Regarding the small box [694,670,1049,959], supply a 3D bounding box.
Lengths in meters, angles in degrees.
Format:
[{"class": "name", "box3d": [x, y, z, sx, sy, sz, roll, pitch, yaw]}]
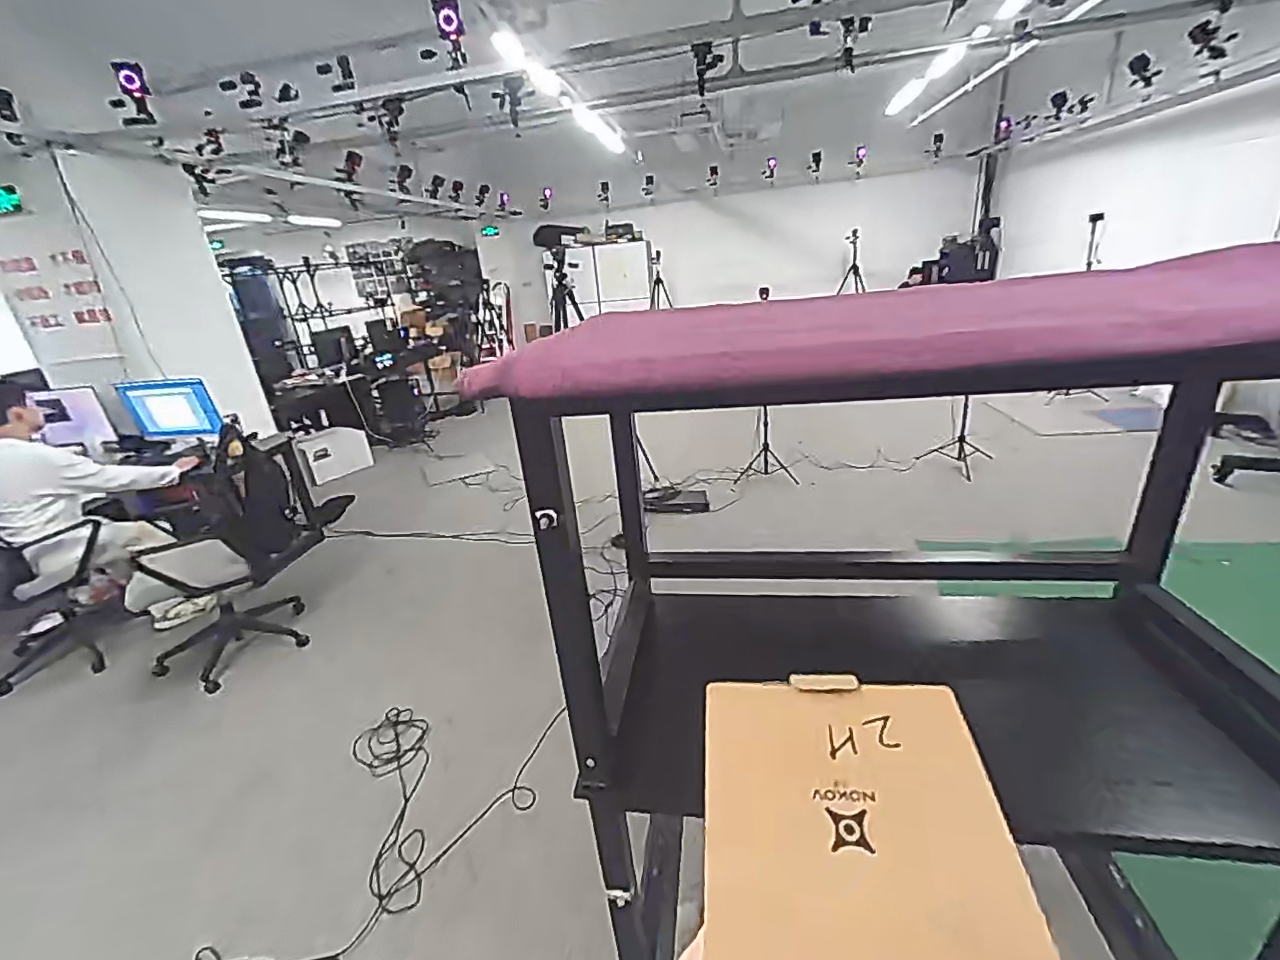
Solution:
[{"class": "small box", "box3d": [0.127, 0.252, 0.359, 0.168, 0.176, 0.179, -2, 35, 9]}]
